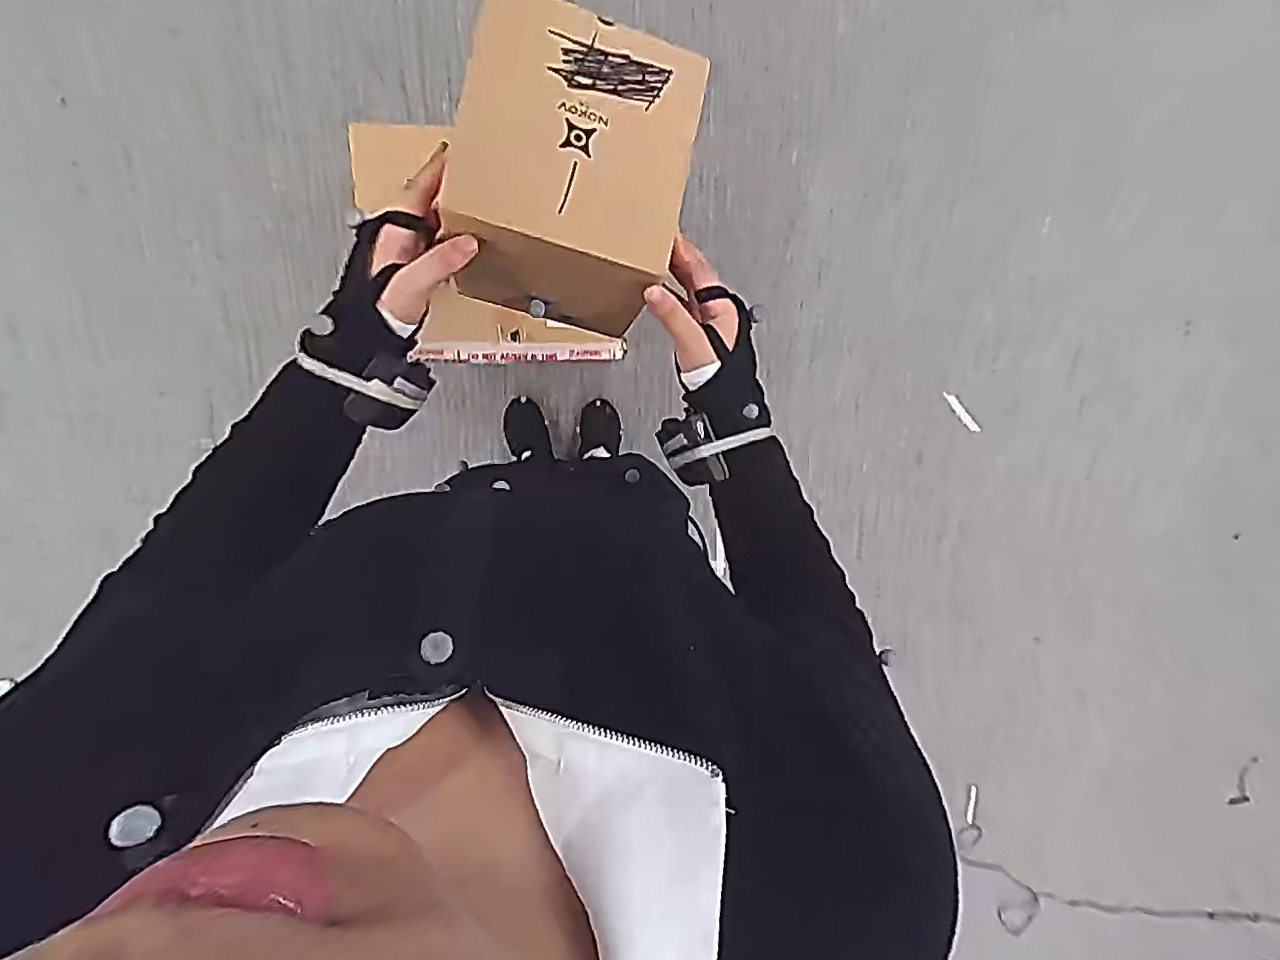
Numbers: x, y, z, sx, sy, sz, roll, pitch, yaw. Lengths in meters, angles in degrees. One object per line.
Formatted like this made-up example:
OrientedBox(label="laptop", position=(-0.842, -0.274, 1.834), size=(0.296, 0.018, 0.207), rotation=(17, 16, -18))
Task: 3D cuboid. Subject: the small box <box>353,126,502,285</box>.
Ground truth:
OrientedBox(label="small box", position=(-0.309, -0.402, 0.819), size=(0.168, 0.176, 0.179), rotation=(0, 103, -3))
